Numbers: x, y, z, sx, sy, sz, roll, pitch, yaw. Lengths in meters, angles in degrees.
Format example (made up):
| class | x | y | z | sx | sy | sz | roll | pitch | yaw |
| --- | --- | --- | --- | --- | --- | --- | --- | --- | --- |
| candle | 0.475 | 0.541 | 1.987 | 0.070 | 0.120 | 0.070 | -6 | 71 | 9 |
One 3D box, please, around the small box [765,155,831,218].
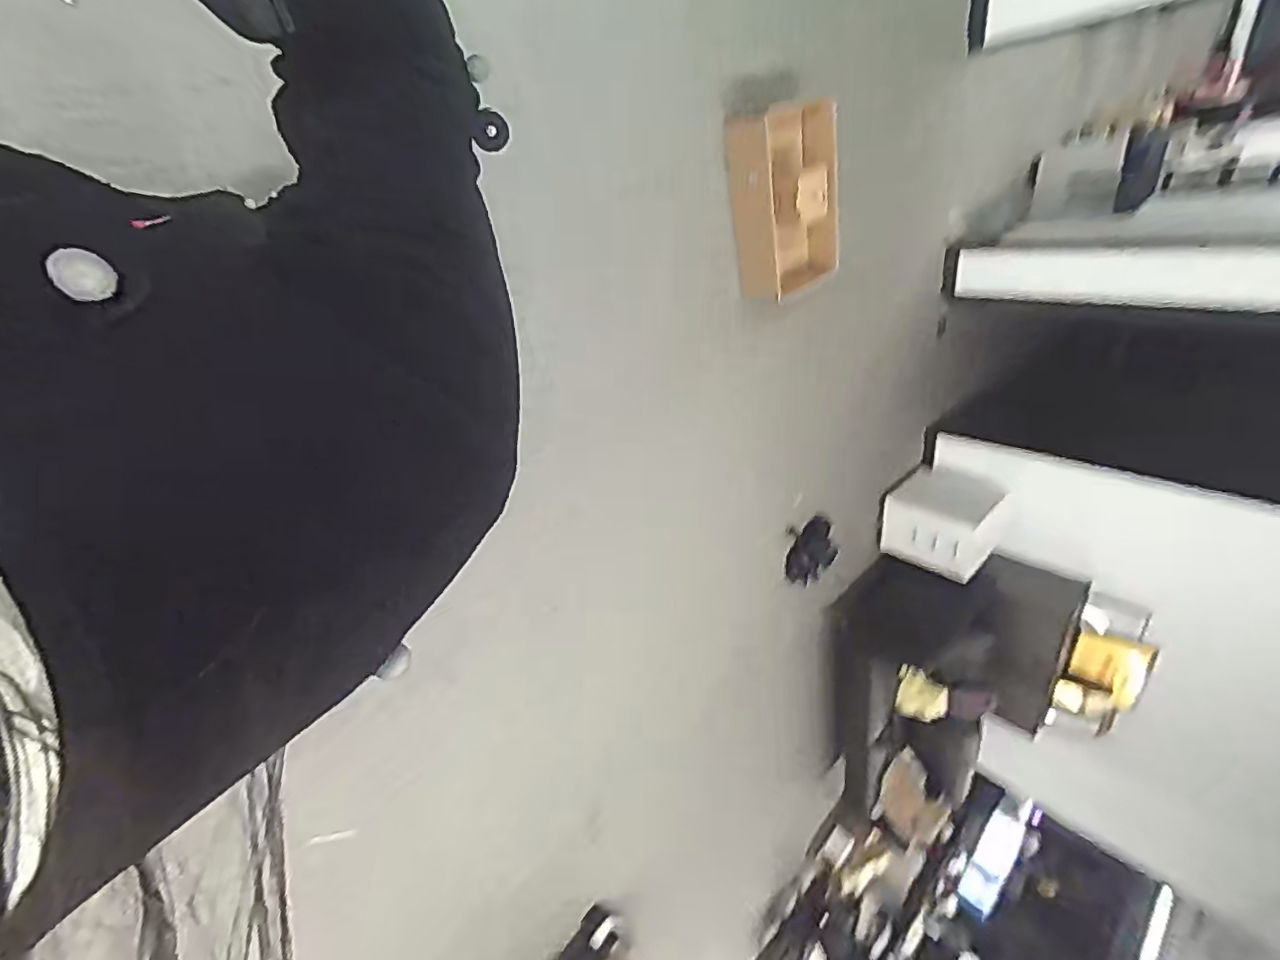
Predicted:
| class | x | y | z | sx | sy | sz | roll | pitch | yaw |
| --- | --- | --- | --- | --- | --- | --- | --- | --- | --- |
| small box | 0.571 | -1.065 | 1.970 | 0.179 | 0.176 | 0.168 | -33 | 127 | -28 |
